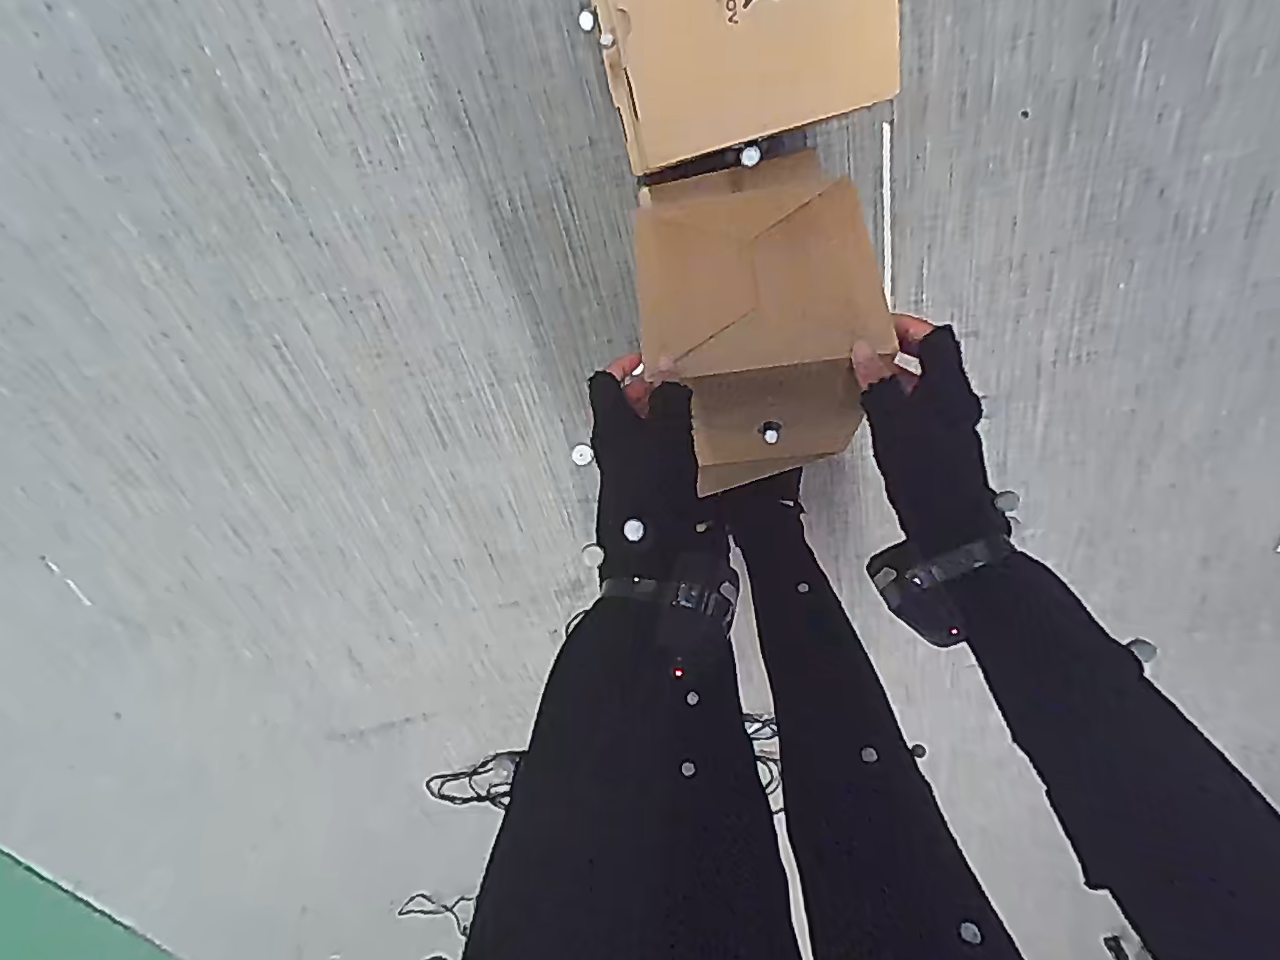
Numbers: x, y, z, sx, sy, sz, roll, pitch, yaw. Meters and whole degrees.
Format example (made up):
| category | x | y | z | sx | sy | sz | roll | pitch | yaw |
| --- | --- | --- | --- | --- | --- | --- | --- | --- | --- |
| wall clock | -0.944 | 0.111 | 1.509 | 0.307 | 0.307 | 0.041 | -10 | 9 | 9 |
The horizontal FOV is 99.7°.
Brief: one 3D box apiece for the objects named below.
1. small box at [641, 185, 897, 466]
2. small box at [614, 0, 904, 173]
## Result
| category | x | y | z | sx | sy | sz | roll | pitch | yaw |
| --- | --- | --- | --- | --- | --- | --- | --- | --- | --- |
| small box | 0.097 | -0.126 | 0.475 | 0.179 | 0.168 | 0.176 | -6 | 157 | 7 |
| small box | 0.074 | -0.344 | 0.402 | 0.179 | 0.176 | 0.168 | -11 | 119 | 9 |
